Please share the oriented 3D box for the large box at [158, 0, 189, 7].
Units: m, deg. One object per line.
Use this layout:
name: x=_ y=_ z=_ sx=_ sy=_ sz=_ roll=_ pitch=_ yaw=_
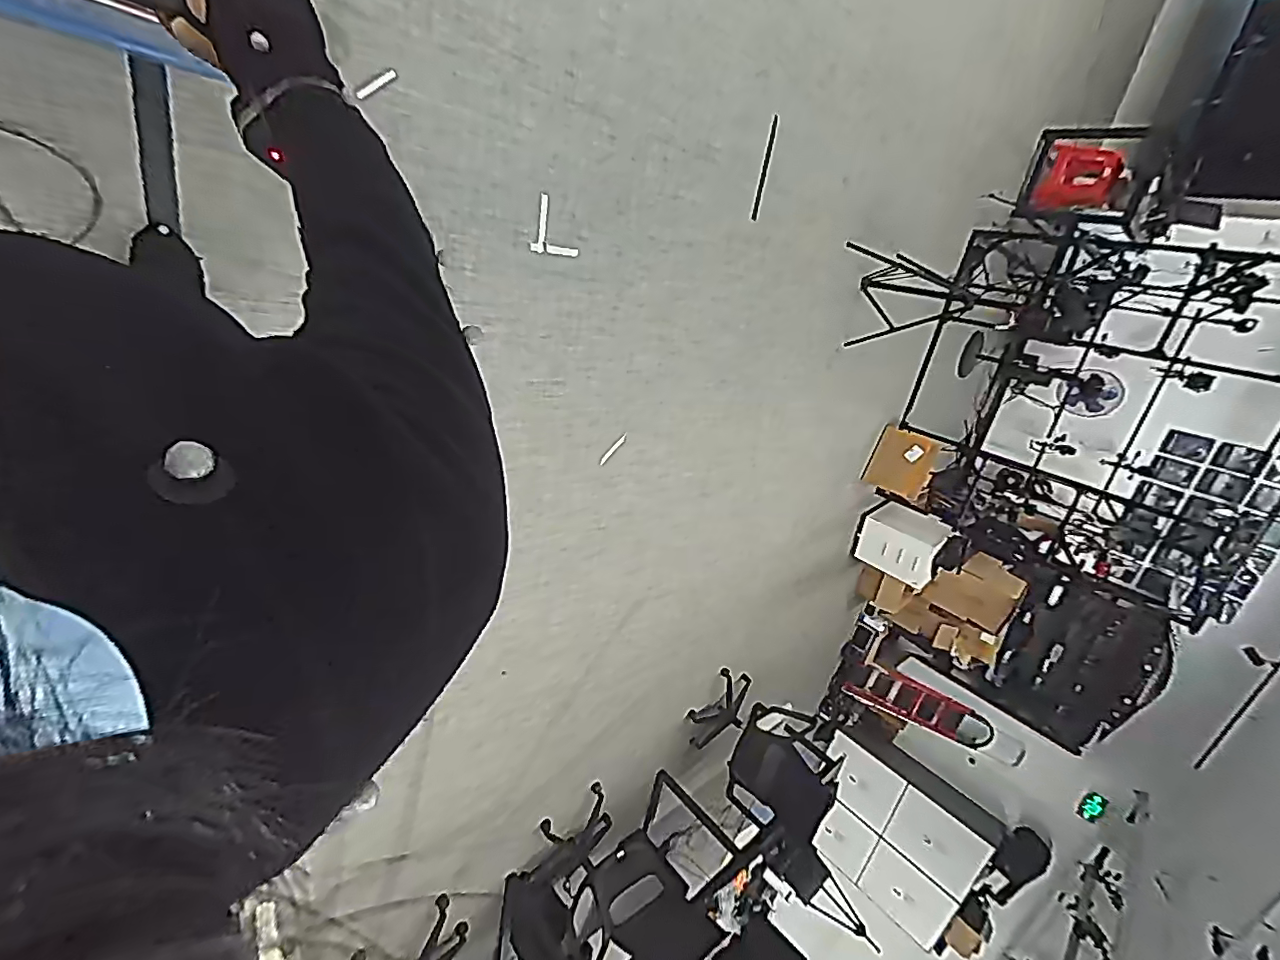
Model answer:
large box: x=-0.749 y=-0.807 z=0.589 sx=0.408 sy=0.320 sz=0.320 roll=-12 pitch=123 yaw=-44
